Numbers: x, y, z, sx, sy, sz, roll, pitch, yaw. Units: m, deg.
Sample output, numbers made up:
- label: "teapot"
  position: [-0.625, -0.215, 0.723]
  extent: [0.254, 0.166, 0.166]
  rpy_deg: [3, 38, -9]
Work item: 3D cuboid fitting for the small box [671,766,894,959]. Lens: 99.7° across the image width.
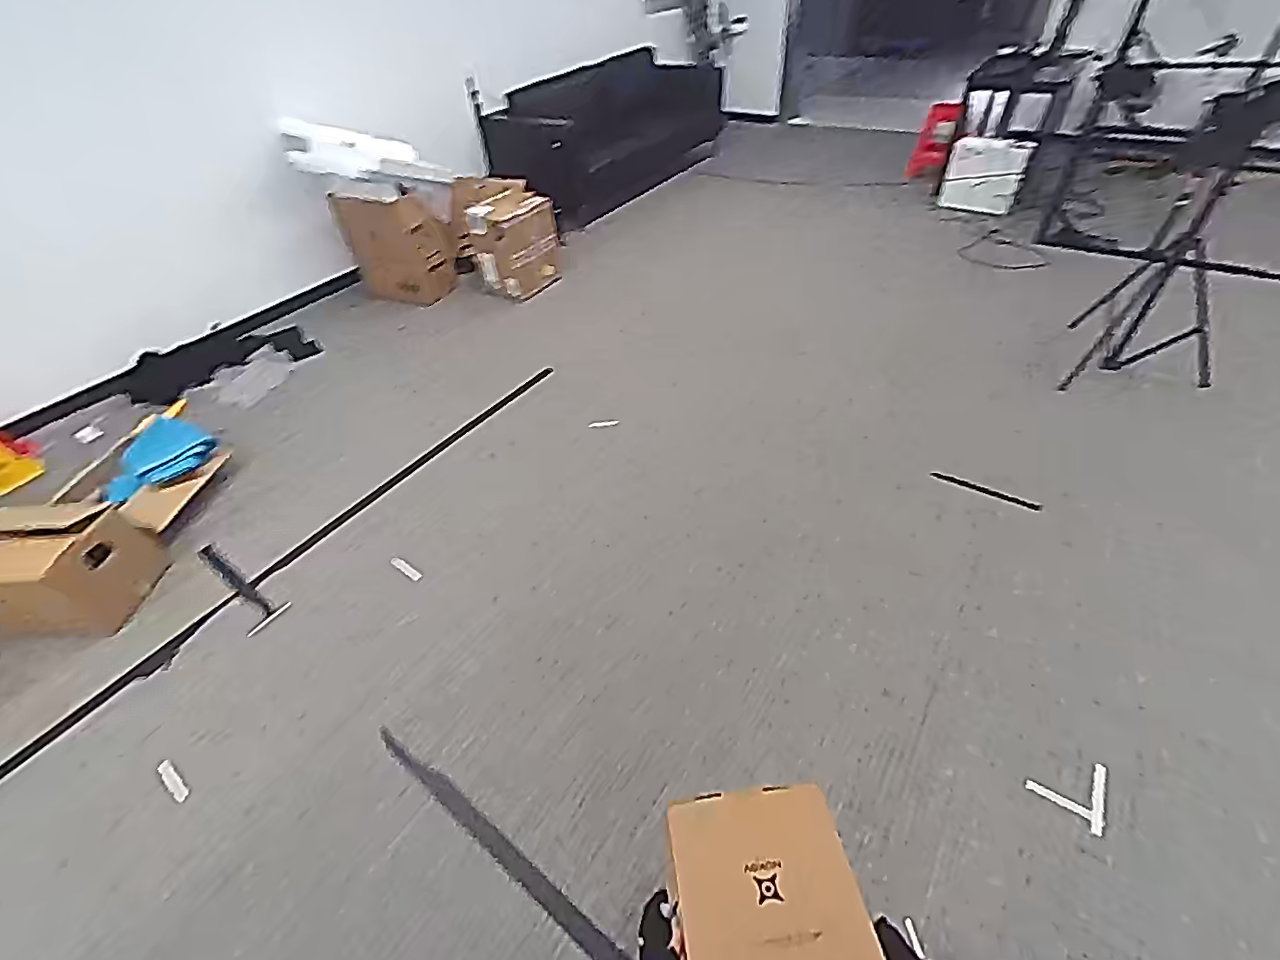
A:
- label: "small box"
  position: [0.121, 0.424, 0.540]
  extent: [0.168, 0.176, 0.179]
  rpy_deg: [-5, 30, -3]
